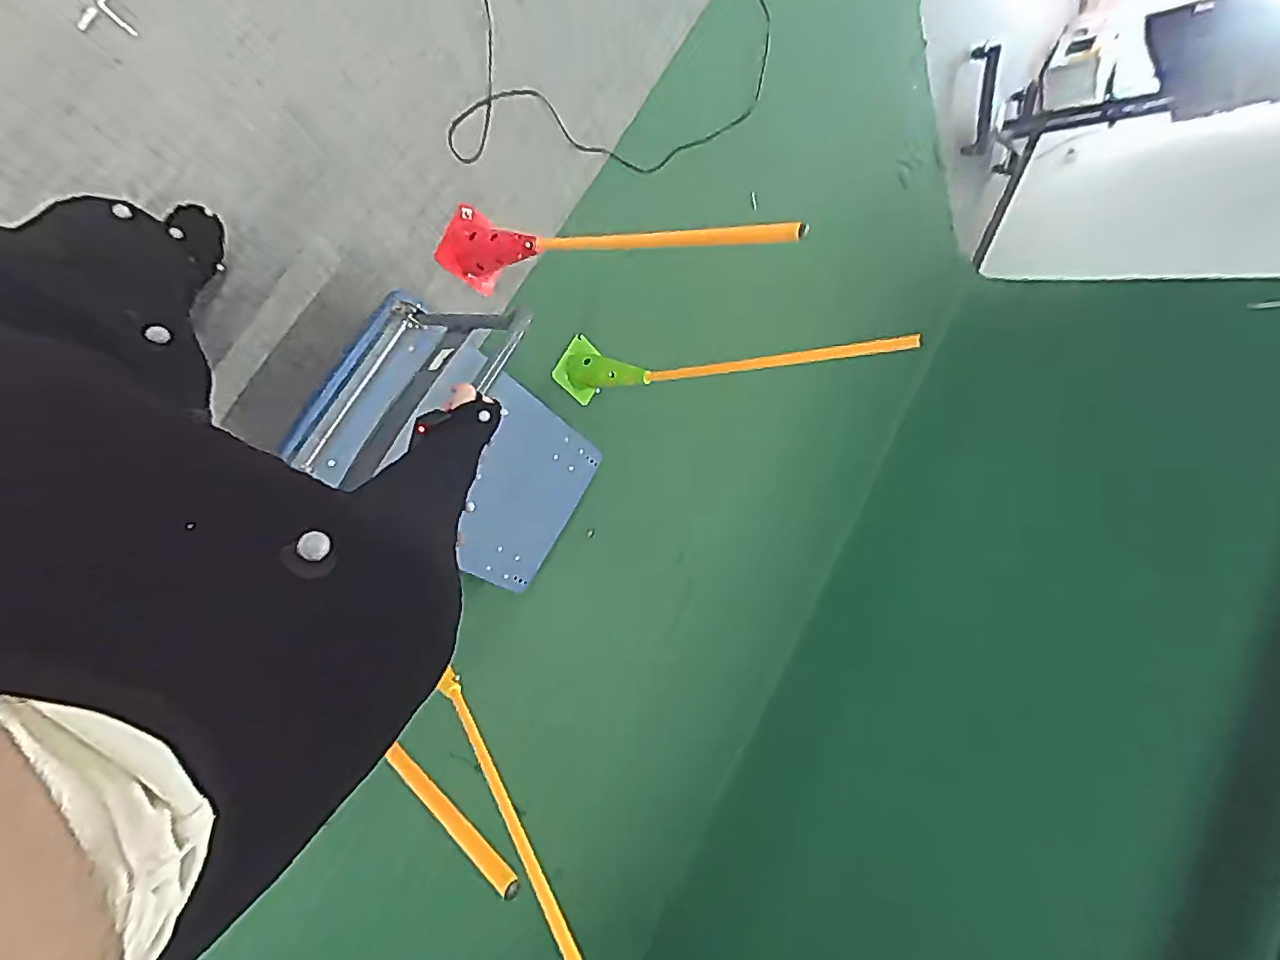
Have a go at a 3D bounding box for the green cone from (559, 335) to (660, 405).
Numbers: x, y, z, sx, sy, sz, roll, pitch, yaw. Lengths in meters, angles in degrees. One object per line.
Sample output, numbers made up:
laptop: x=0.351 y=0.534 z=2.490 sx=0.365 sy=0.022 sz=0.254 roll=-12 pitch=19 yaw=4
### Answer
green cone: x=-0.076 y=-0.364 z=1.877 sx=0.202 sy=0.368 sz=0.200 roll=40 pitch=74 yaw=-45
